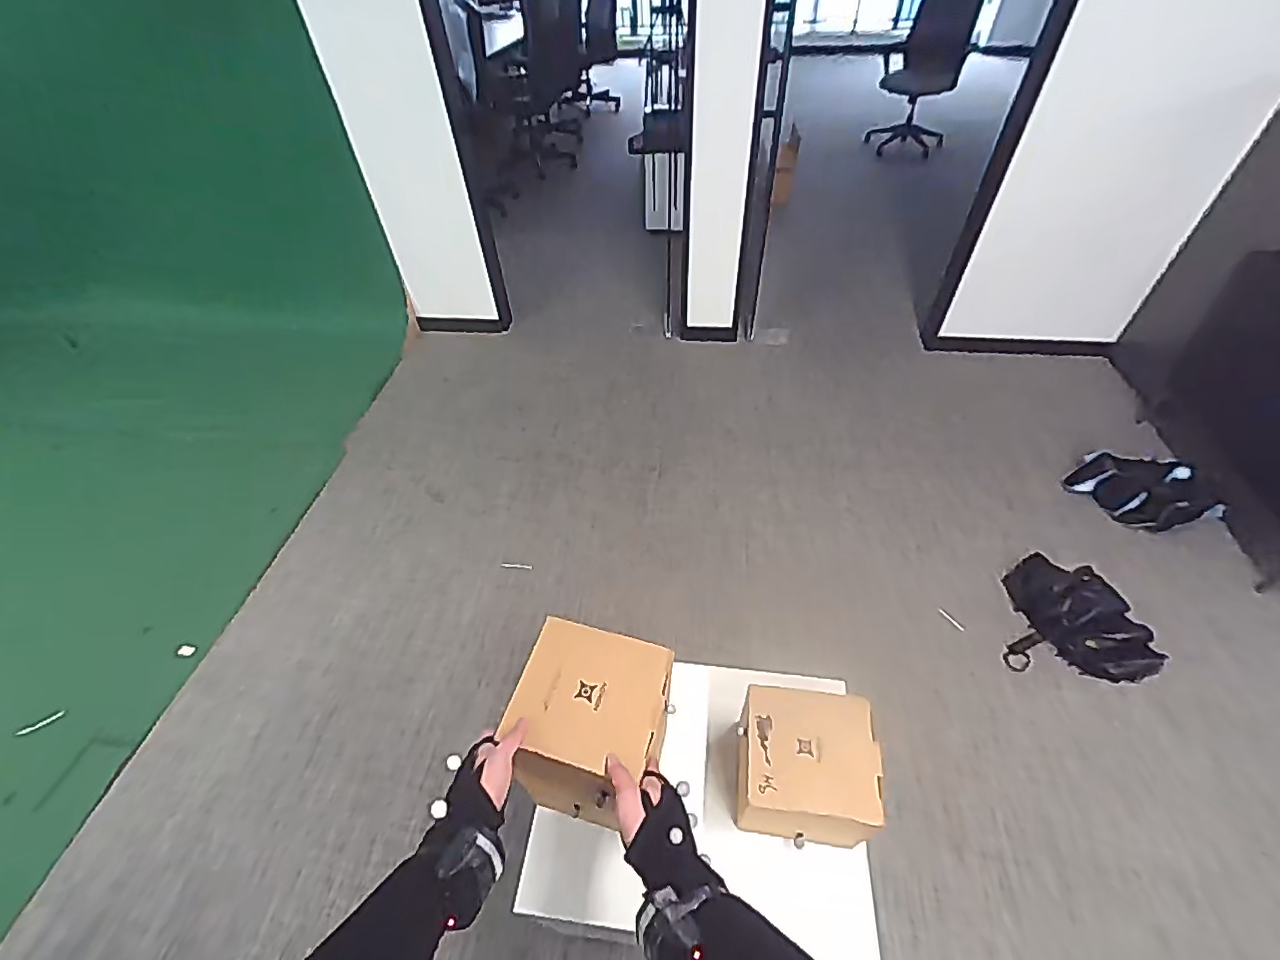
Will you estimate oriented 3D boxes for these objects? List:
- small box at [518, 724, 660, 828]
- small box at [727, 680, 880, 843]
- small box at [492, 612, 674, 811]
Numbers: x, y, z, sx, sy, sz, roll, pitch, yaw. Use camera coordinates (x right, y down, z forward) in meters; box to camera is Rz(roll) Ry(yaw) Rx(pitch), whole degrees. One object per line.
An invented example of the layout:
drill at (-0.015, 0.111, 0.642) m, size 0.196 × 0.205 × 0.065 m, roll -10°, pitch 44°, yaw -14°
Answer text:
small box at (-0.068, 0.403, 0.819) m, size 0.179 × 0.176 × 0.168 m, roll 11°, pitch 48°, yaw 10°
small box at (0.231, 0.421, 0.805) m, size 0.179 × 0.176 × 0.168 m, roll 6°, pitch 48°, yaw 6°
small box at (-0.063, 0.300, 0.694) m, size 0.179 × 0.176 × 0.168 m, roll 11°, pitch 46°, yaw 9°
